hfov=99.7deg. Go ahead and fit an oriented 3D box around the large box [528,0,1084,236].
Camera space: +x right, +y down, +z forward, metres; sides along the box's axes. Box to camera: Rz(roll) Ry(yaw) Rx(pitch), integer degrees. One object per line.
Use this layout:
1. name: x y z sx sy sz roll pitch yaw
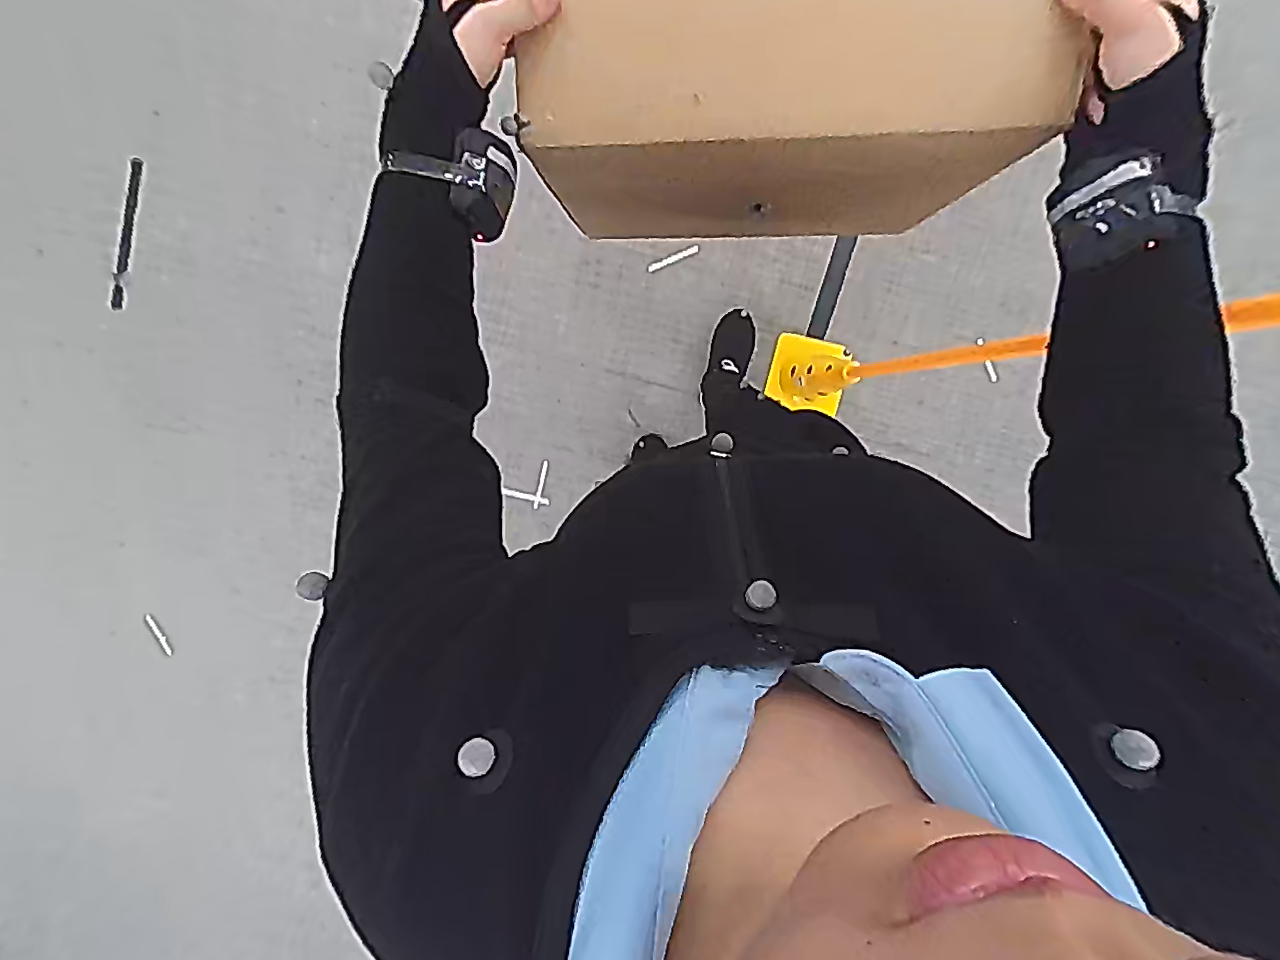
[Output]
1. large box: 0.129 -0.440 0.526 0.408 0.320 0.320 1 101 6
